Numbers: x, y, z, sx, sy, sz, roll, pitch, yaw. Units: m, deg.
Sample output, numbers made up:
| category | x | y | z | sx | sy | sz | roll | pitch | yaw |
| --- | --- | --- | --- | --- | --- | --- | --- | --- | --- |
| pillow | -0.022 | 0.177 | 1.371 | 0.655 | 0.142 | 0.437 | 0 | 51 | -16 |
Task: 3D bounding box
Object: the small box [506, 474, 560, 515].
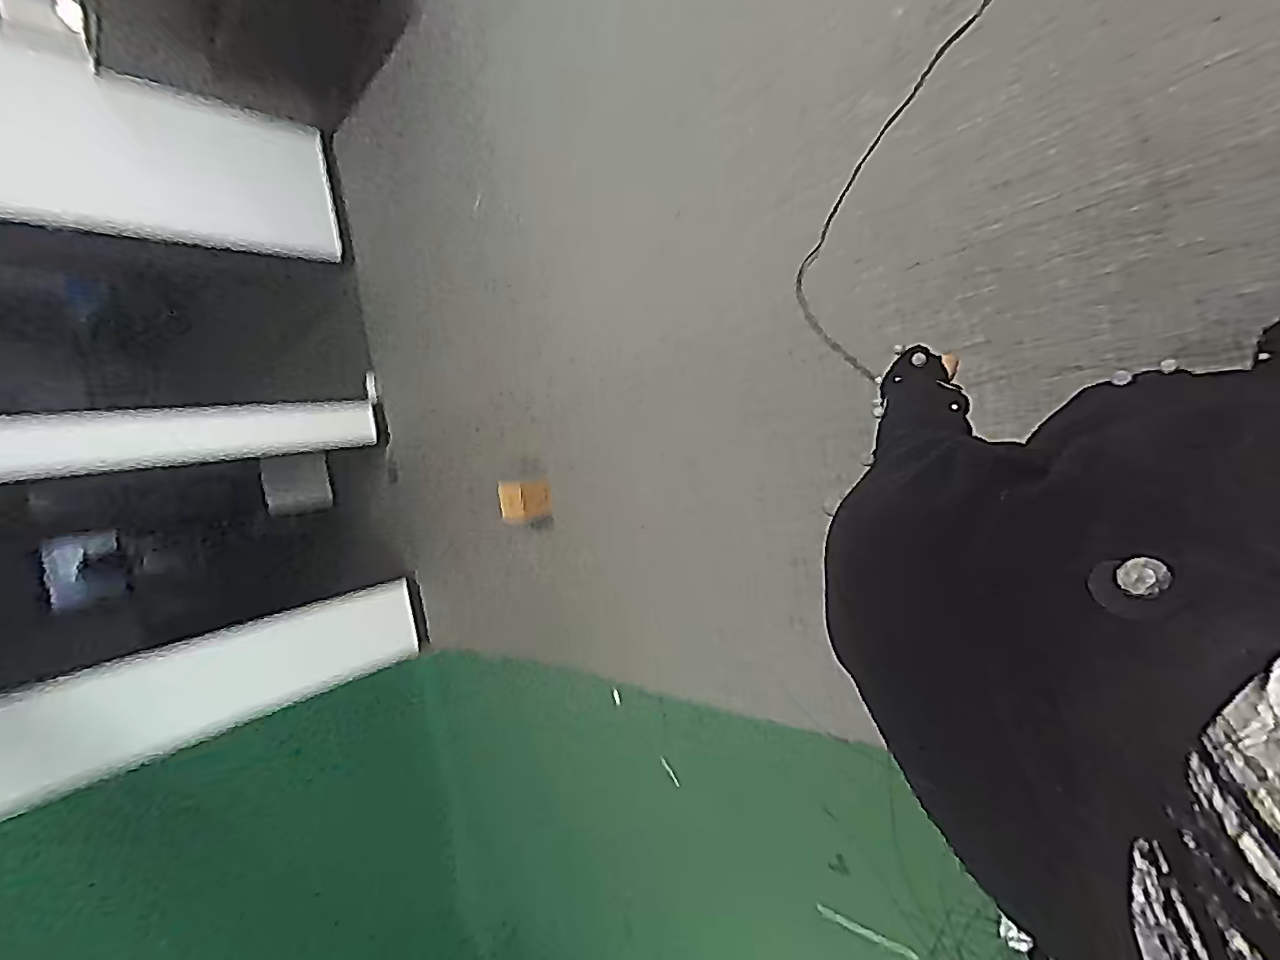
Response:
| category | x | y | z | sx | sy | sz | roll | pitch | yaw |
| --- | --- | --- | --- | --- | --- | --- | --- | --- | --- |
| small box | -0.500 | 0.064 | 2.523 | 0.179 | 0.176 | 0.168 | -2 | 98 | 43 |
